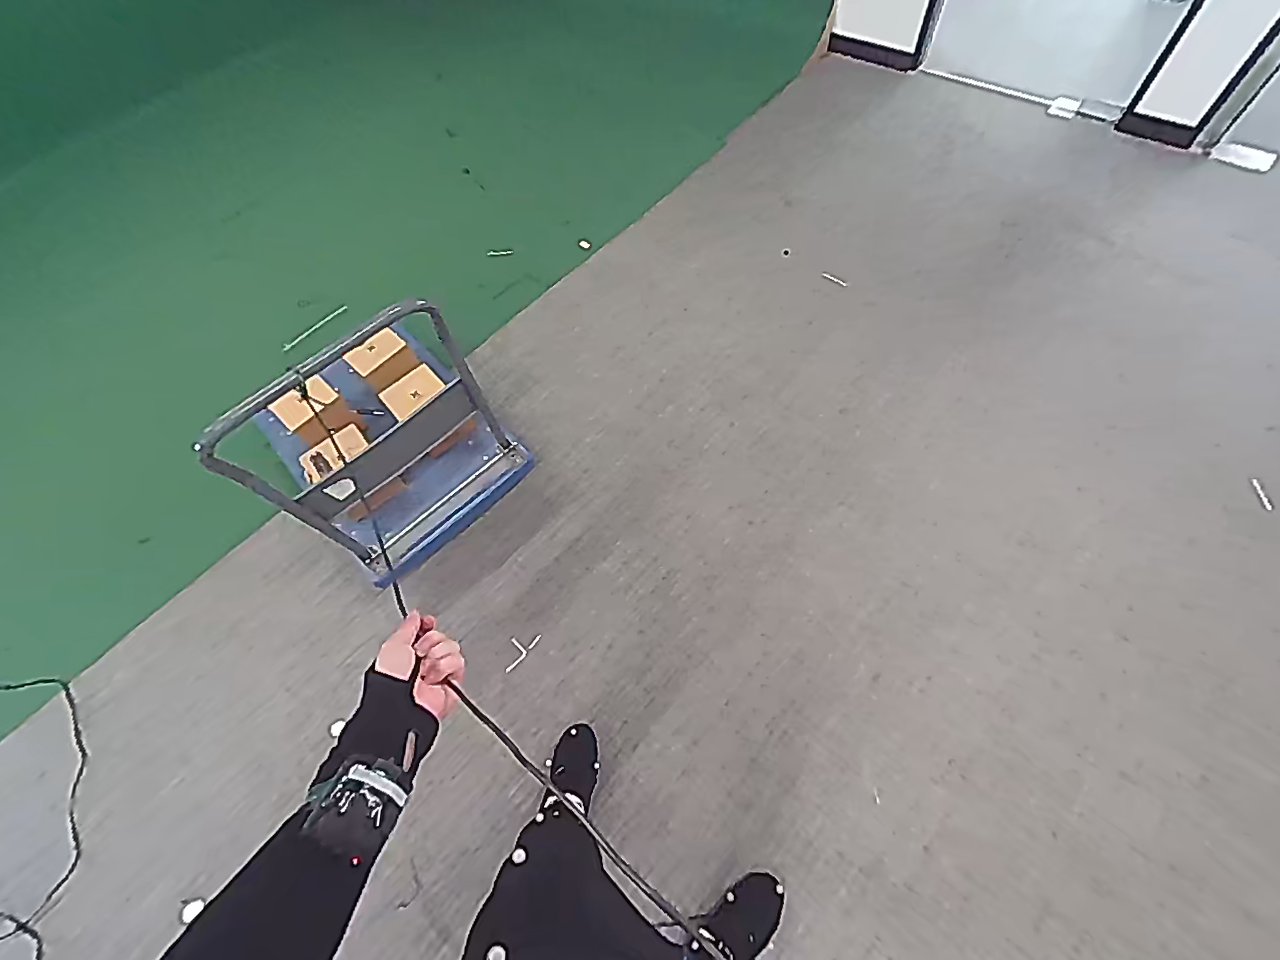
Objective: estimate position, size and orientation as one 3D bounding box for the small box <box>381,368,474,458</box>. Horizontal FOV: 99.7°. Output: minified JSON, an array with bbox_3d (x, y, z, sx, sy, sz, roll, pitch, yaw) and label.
[{"bbox_3d":[-0.639,-0.197,1.641,0.168,0.176,0.179,-41,66,-14],"label":"small box"}]

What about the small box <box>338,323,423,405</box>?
[{"bbox_3d":[-0.823,-0.363,1.748,0.179,0.176,0.168,38,73,22],"label":"small box"}]

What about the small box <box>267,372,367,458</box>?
[{"bbox_3d":[-0.993,-0.192,1.677,0.179,0.176,0.168,38,72,22],"label":"small box"}]
